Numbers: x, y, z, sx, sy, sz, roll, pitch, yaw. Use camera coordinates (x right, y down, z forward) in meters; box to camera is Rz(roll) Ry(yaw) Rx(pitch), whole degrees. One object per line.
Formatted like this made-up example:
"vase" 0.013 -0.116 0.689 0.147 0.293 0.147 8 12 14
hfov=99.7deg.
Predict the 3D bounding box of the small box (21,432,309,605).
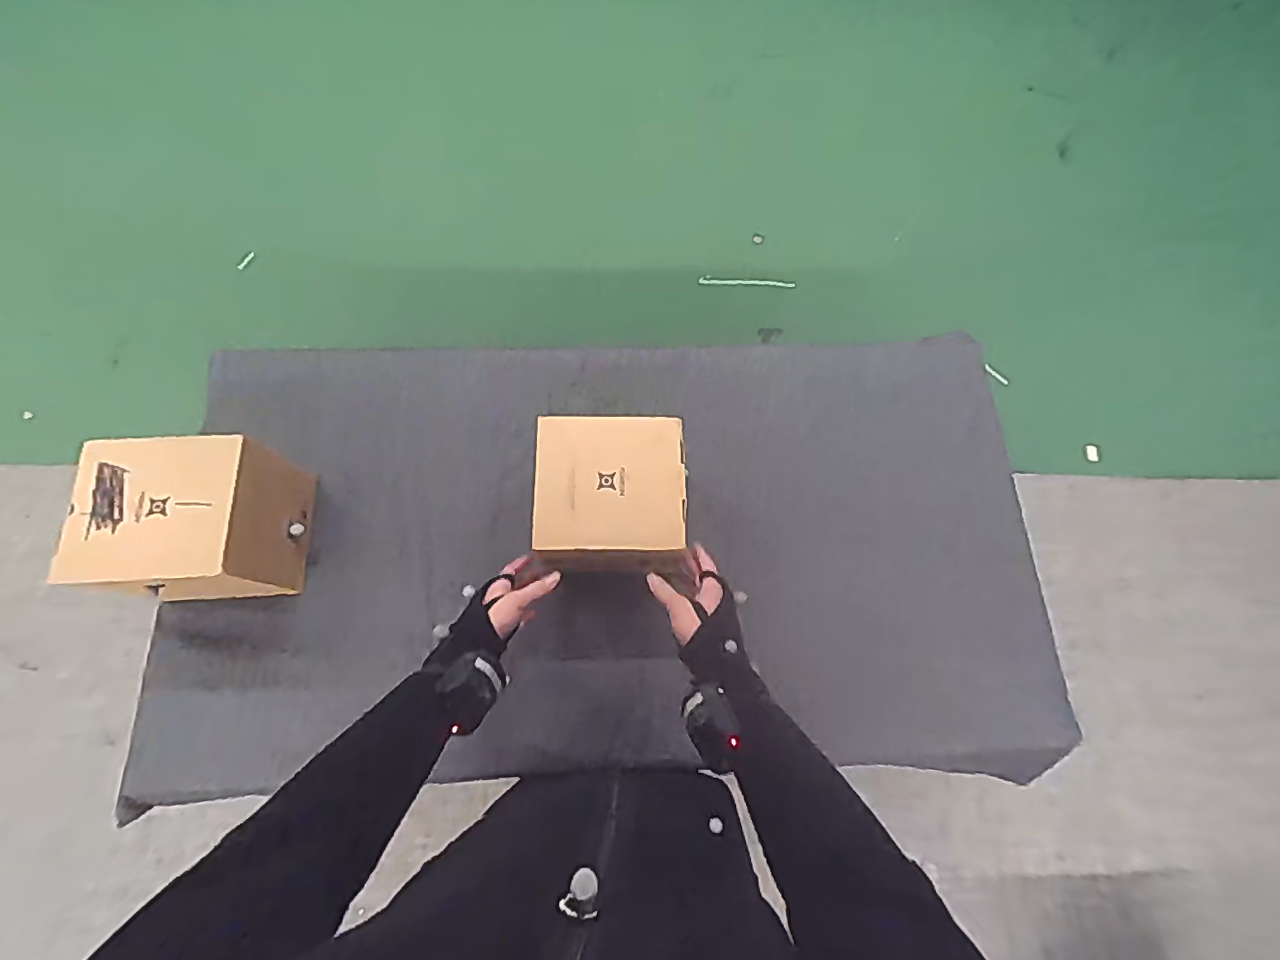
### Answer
"small box" -0.529 0.053 0.636 0.179 0.176 0.168 -2 71 -7

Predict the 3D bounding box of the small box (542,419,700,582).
"small box" -0.028 0.033 0.690 0.179 0.176 0.168 -1 69 -4
